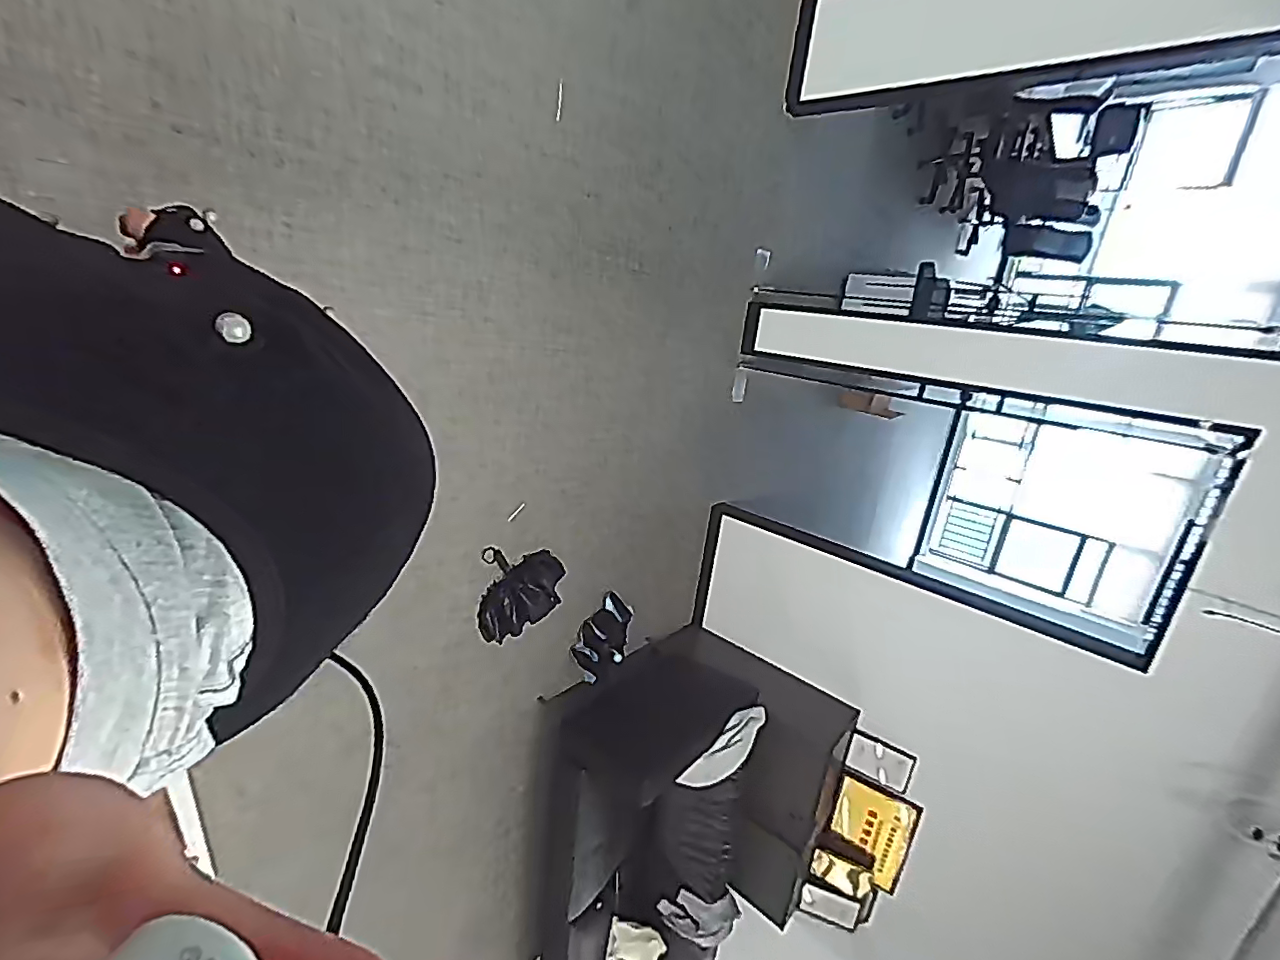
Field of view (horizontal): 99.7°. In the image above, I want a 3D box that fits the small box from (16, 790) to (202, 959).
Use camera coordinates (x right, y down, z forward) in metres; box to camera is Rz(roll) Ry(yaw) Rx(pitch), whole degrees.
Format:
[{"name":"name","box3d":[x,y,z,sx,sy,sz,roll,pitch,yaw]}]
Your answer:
[{"name":"small box","box3d":[-0.787,0.616,0.807,0.168,0.176,0.179,-16,120,-47]}]
